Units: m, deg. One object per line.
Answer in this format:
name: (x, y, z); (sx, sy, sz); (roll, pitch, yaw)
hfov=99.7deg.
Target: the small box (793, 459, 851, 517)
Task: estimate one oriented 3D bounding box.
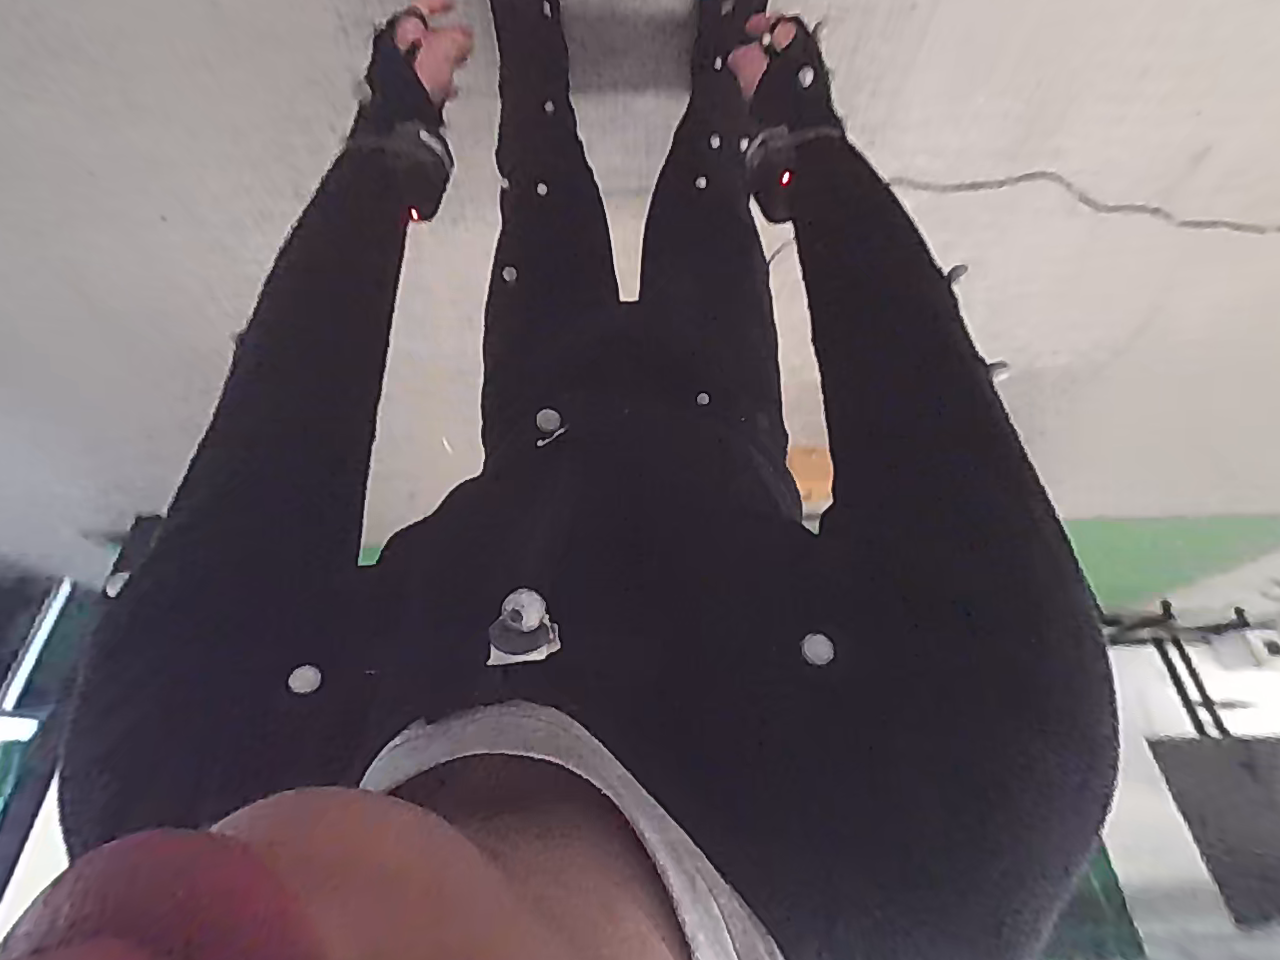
small box: (0.730, 0.033, 2.192); (0.168, 0.176, 0.179); (2, 148, -4)
